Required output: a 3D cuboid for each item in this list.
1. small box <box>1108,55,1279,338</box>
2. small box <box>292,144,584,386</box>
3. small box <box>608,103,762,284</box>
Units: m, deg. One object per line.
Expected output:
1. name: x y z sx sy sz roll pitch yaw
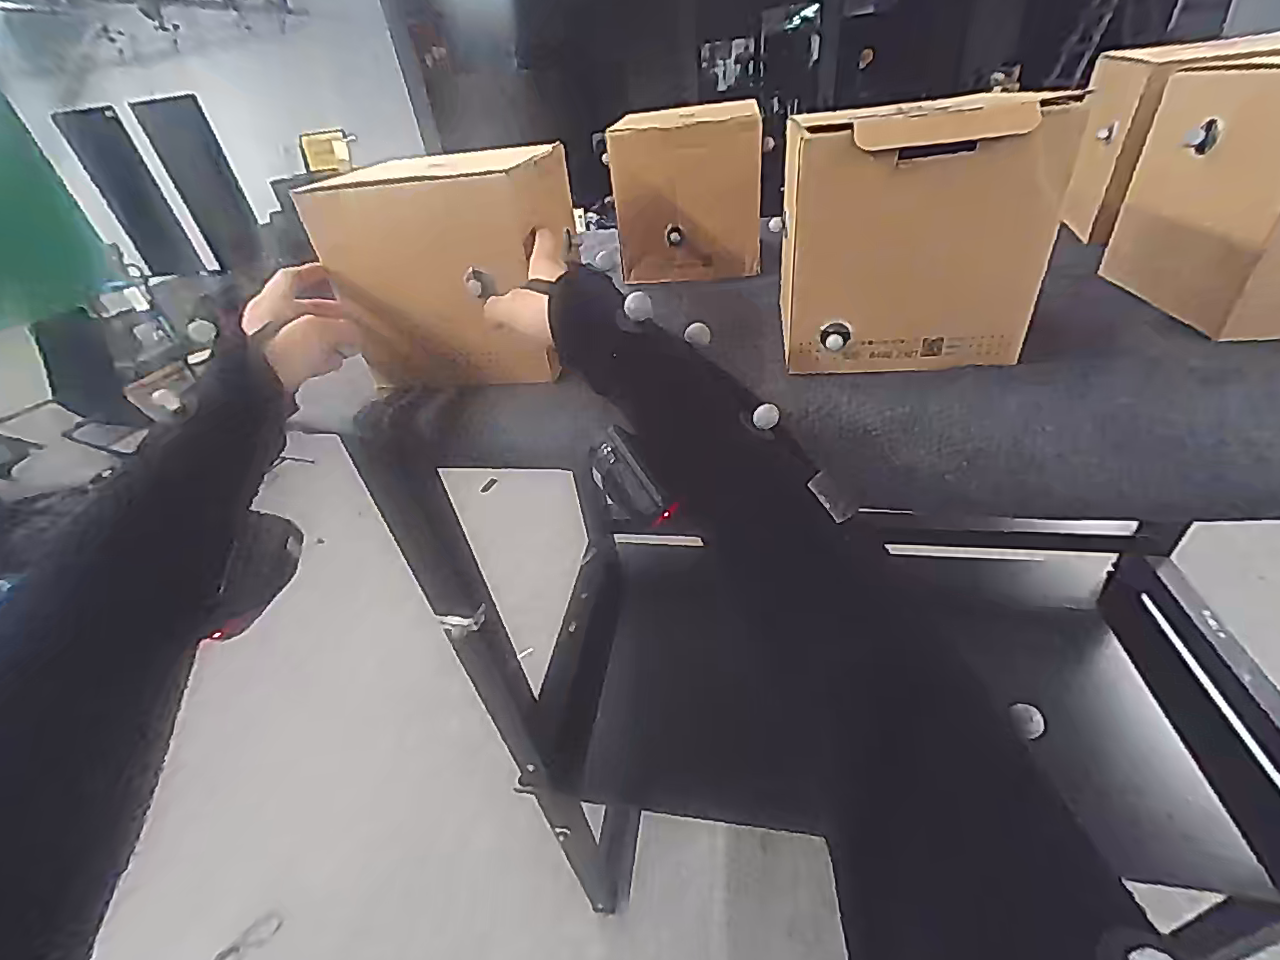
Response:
1. small box: 0.509 -0.217 0.405 0.168 0.176 0.179 0 37 12
2. small box: -0.158 -0.197 0.499 0.179 0.176 0.168 0 37 9
3. small box: 0.064 -0.357 0.677 0.168 0.176 0.179 0 38 10
